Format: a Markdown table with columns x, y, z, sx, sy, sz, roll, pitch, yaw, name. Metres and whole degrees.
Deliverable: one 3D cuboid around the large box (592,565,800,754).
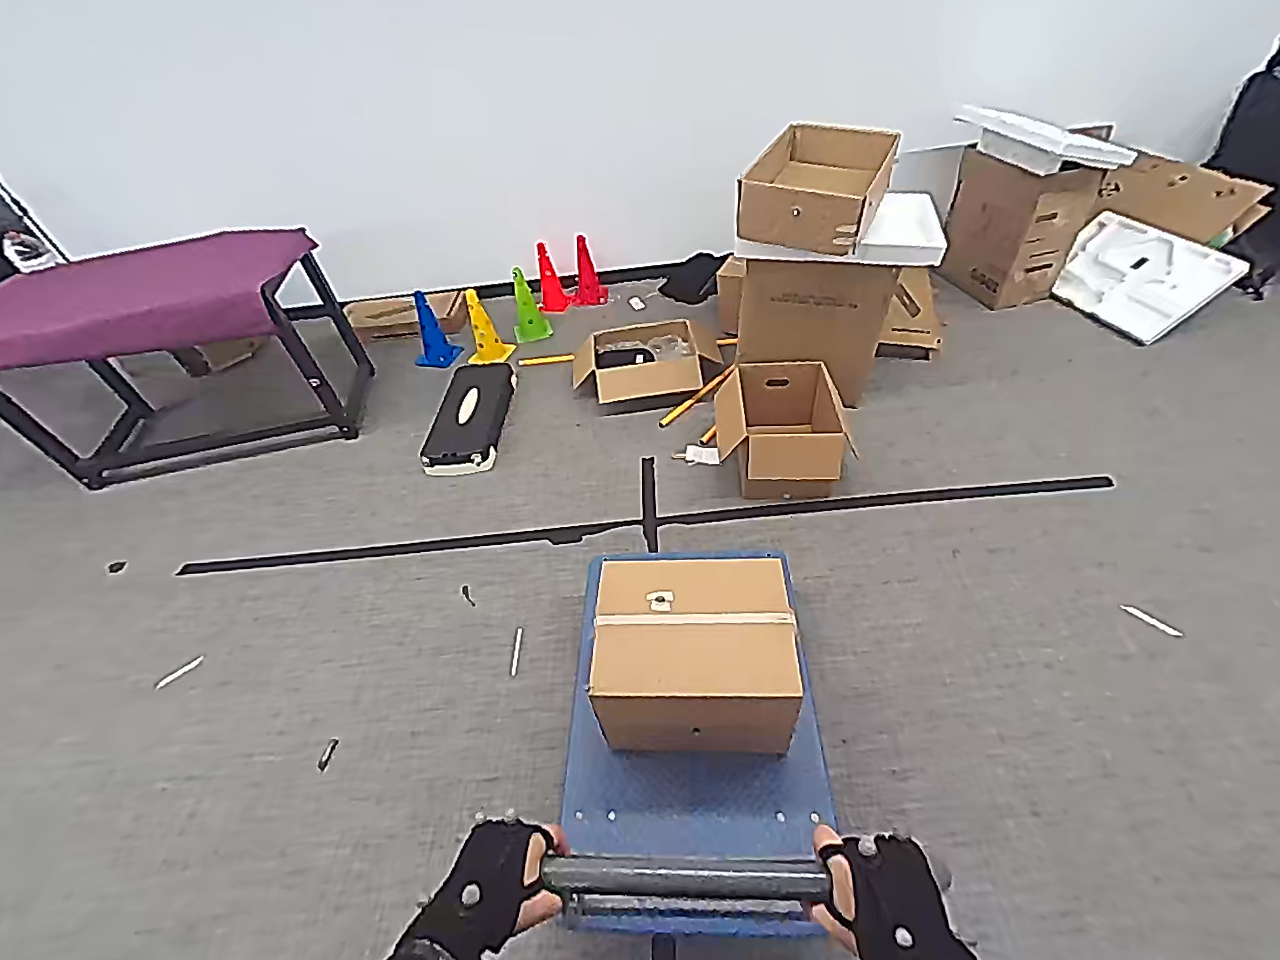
| x | y | z | sx | sy | sz | roll | pitch | yaw | name |
| --- | --- | --- | --- | --- | --- | --- | --- | --- | --- |
| 0.124 | 0.416 | 1.238 | 0.408 | 0.320 | 0.320 | -3 | 44 | 6 | large box |
